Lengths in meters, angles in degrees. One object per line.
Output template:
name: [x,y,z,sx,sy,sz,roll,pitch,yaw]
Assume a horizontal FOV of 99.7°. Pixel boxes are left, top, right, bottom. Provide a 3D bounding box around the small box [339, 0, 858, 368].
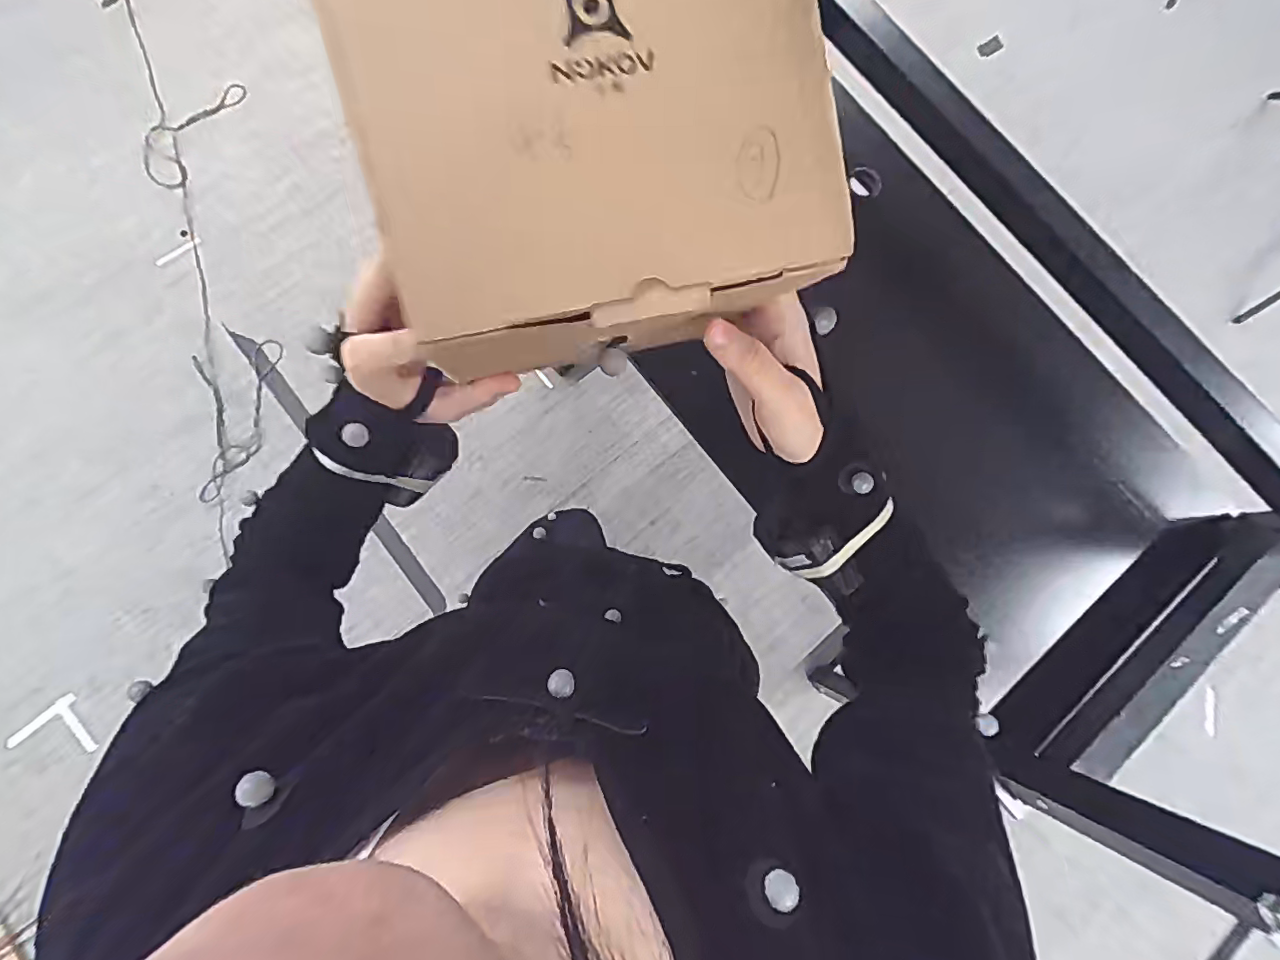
small box: [-0.029,-0.155,0.257,0.168,0.176,0.179,-14,98,-14]
